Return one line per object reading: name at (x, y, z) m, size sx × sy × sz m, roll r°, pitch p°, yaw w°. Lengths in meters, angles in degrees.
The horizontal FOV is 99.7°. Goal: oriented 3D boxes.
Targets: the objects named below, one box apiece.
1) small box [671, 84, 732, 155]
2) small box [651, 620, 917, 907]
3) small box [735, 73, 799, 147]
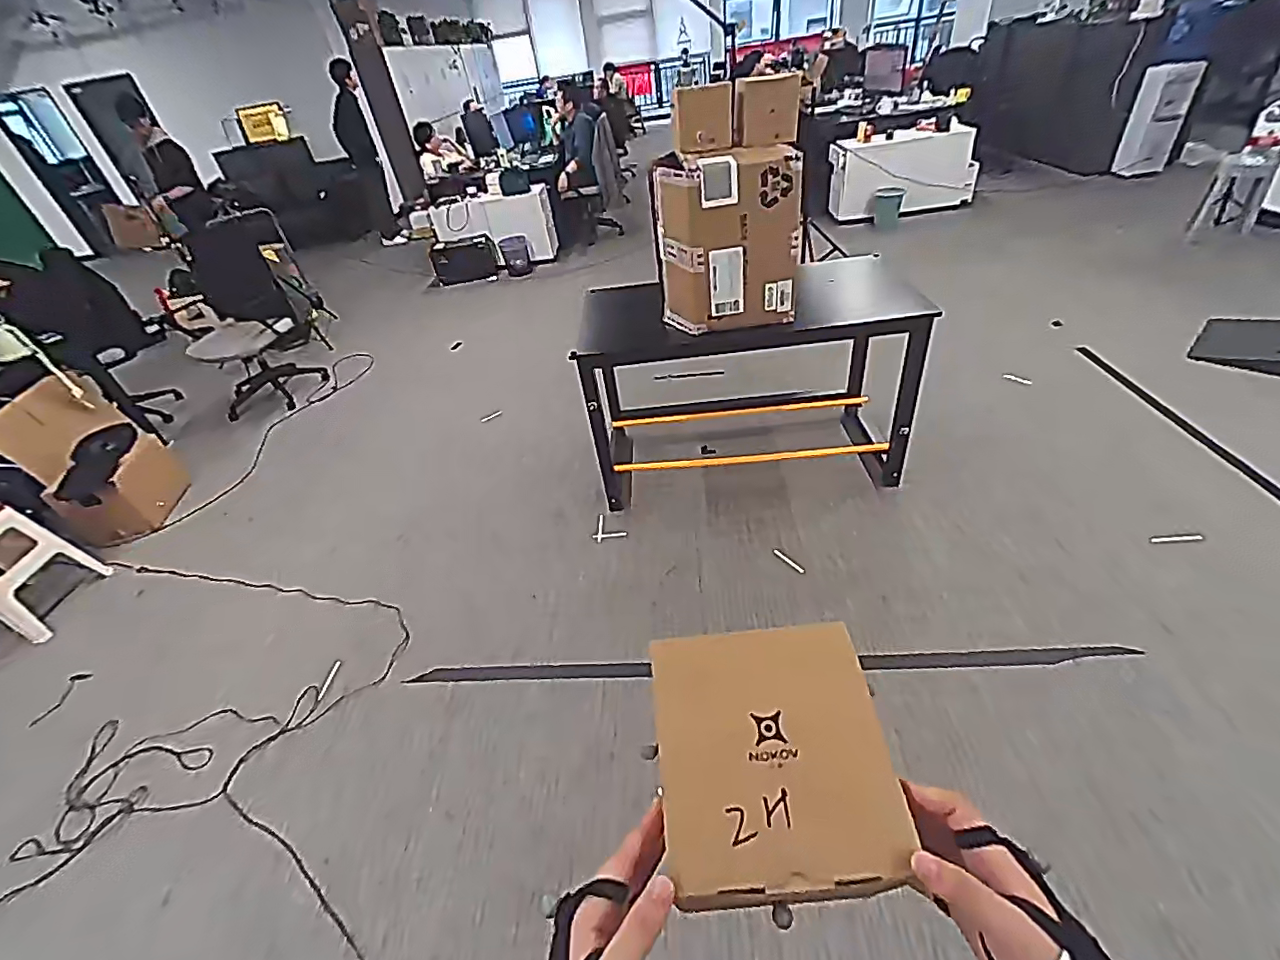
small box at (0.192, -1.136, 1.705) m, size 0.168 × 0.176 × 0.179 m, roll -9°, pitch 37°, yaw 0°
small box at (0.100, 0.243, 0.461) m, size 0.168 × 0.176 × 0.179 m, roll -7°, pitch 48°, yaw 2°
small box at (0.389, -1.148, 1.683) m, size 0.168 × 0.176 × 0.179 m, roll -5°, pitch 39°, yaw 2°
